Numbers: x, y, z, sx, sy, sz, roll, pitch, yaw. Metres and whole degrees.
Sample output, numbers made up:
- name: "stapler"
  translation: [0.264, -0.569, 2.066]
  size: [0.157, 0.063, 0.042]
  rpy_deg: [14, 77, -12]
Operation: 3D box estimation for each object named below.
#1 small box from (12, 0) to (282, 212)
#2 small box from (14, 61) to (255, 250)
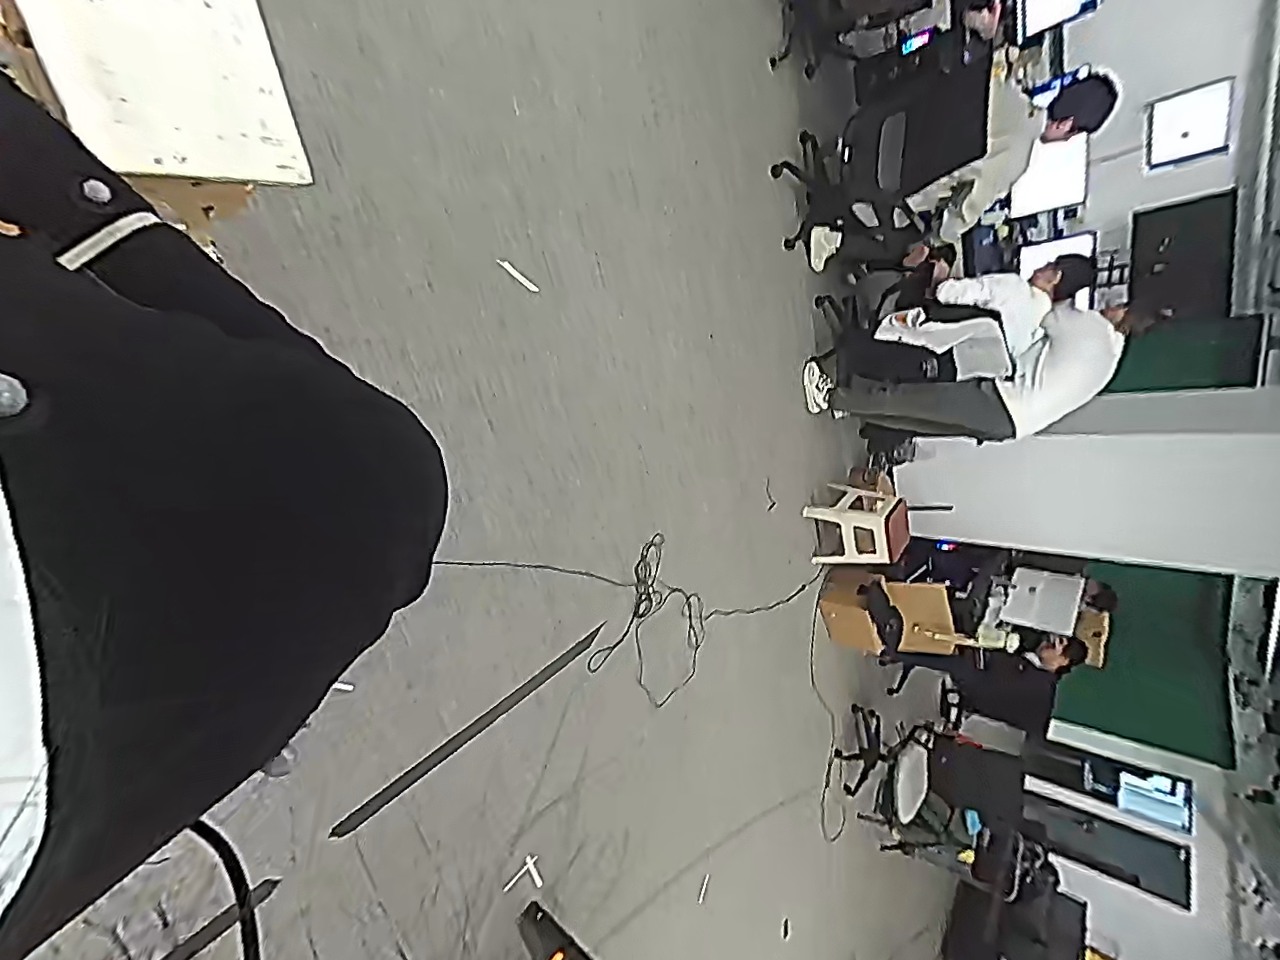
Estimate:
- name: "small box"
  translation: [-0.548, -0.419, 0.605]
  size: [0.168, 0.176, 0.179]
  rpy_deg: [-30, 115, -43]
- name: "small box"
  translation: [-0.665, -0.419, 0.719]
  size: [0.179, 0.176, 0.168]
  rpy_deg: [-34, 116, -41]
